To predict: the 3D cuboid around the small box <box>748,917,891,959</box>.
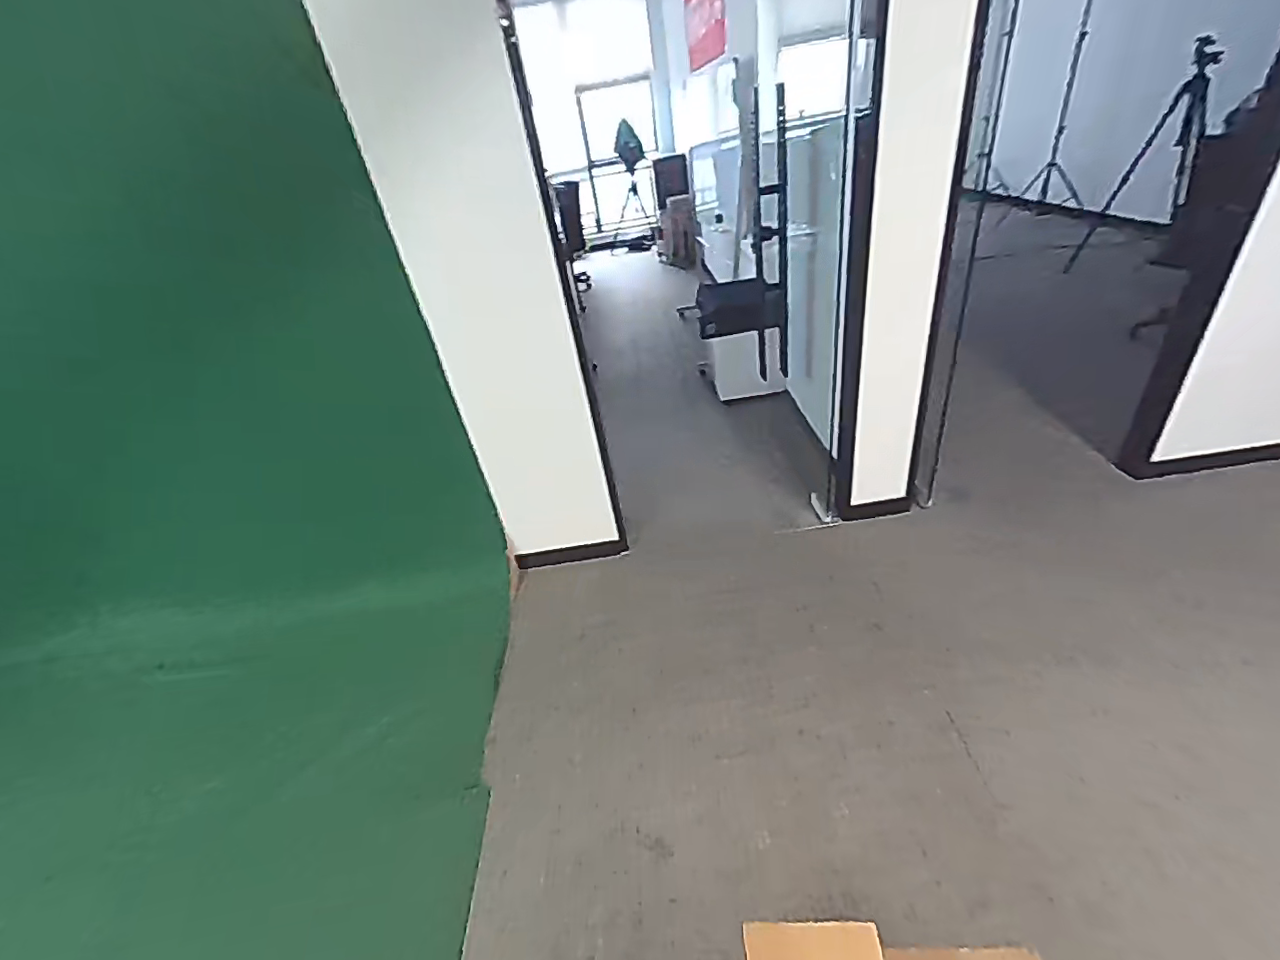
[{"bbox_3d":[0.239,0.696,0.697,0.179,0.176,0.168,-7,33,7],"label":"small box"}]
